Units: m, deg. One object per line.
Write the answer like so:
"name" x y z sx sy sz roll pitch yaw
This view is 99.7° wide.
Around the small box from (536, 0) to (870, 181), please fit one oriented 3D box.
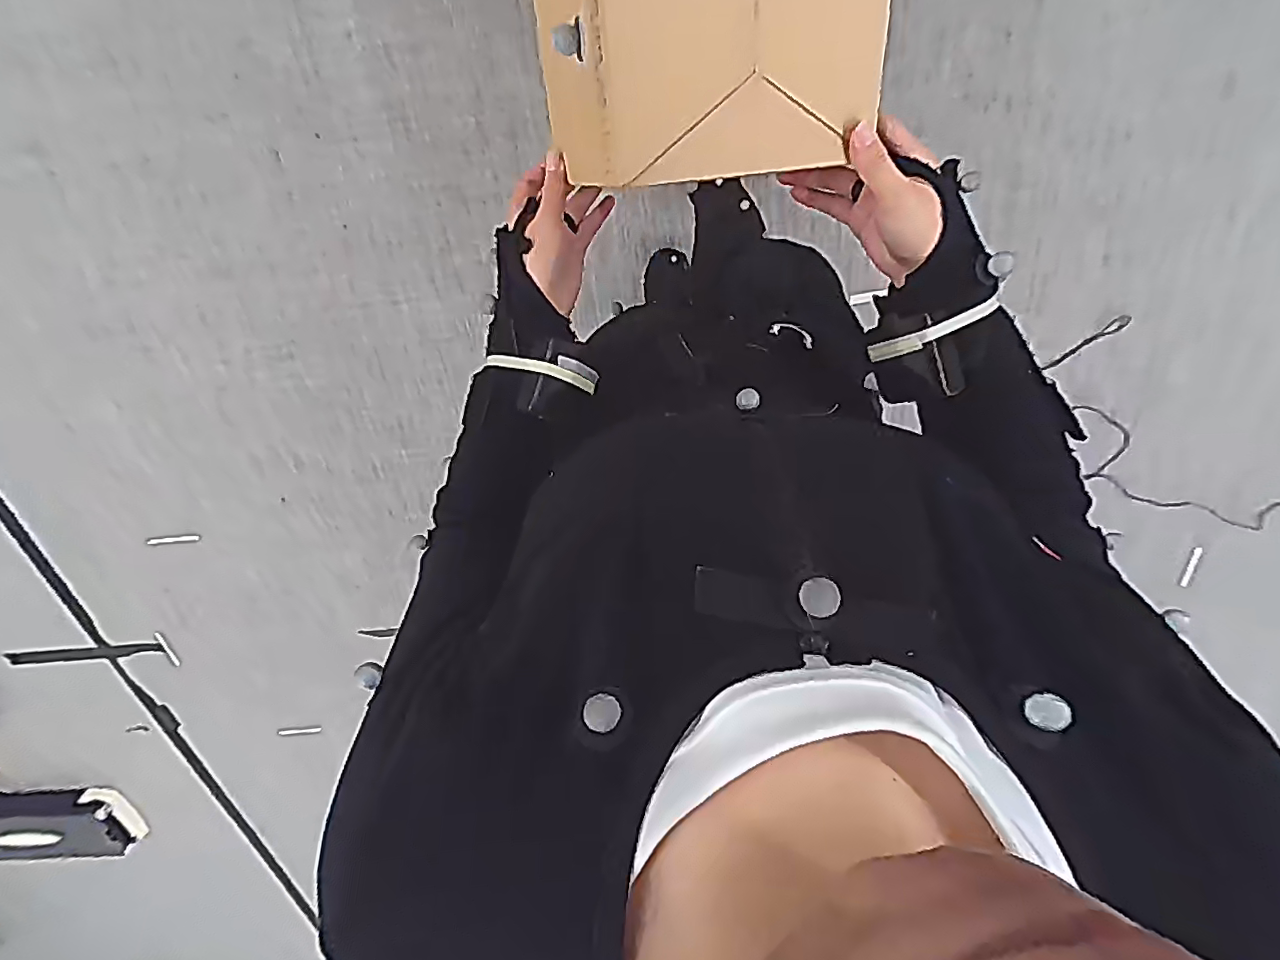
"small box" 0.036 -0.301 0.361 0.179 0.176 0.168 -15 122 -15
